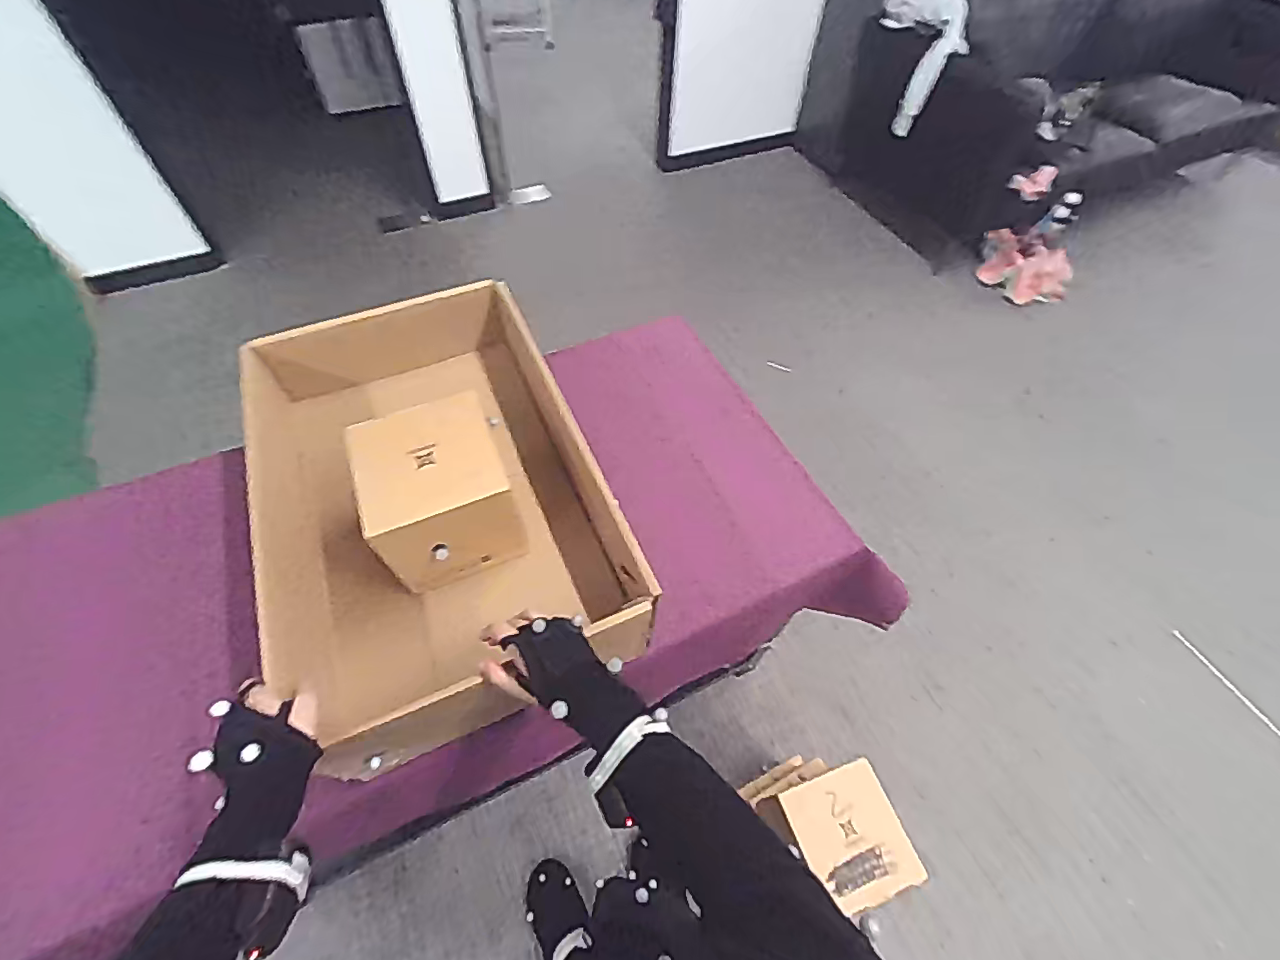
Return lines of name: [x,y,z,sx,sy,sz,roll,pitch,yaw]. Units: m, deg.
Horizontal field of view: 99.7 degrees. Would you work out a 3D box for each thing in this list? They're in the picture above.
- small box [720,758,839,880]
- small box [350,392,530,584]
small box: [0.298,0.742,1.192,0.179,0.176,0.168,-22,60,-15]
small box: [-0.257,0.019,0.719,0.168,0.176,0.179,-20,58,-13]
